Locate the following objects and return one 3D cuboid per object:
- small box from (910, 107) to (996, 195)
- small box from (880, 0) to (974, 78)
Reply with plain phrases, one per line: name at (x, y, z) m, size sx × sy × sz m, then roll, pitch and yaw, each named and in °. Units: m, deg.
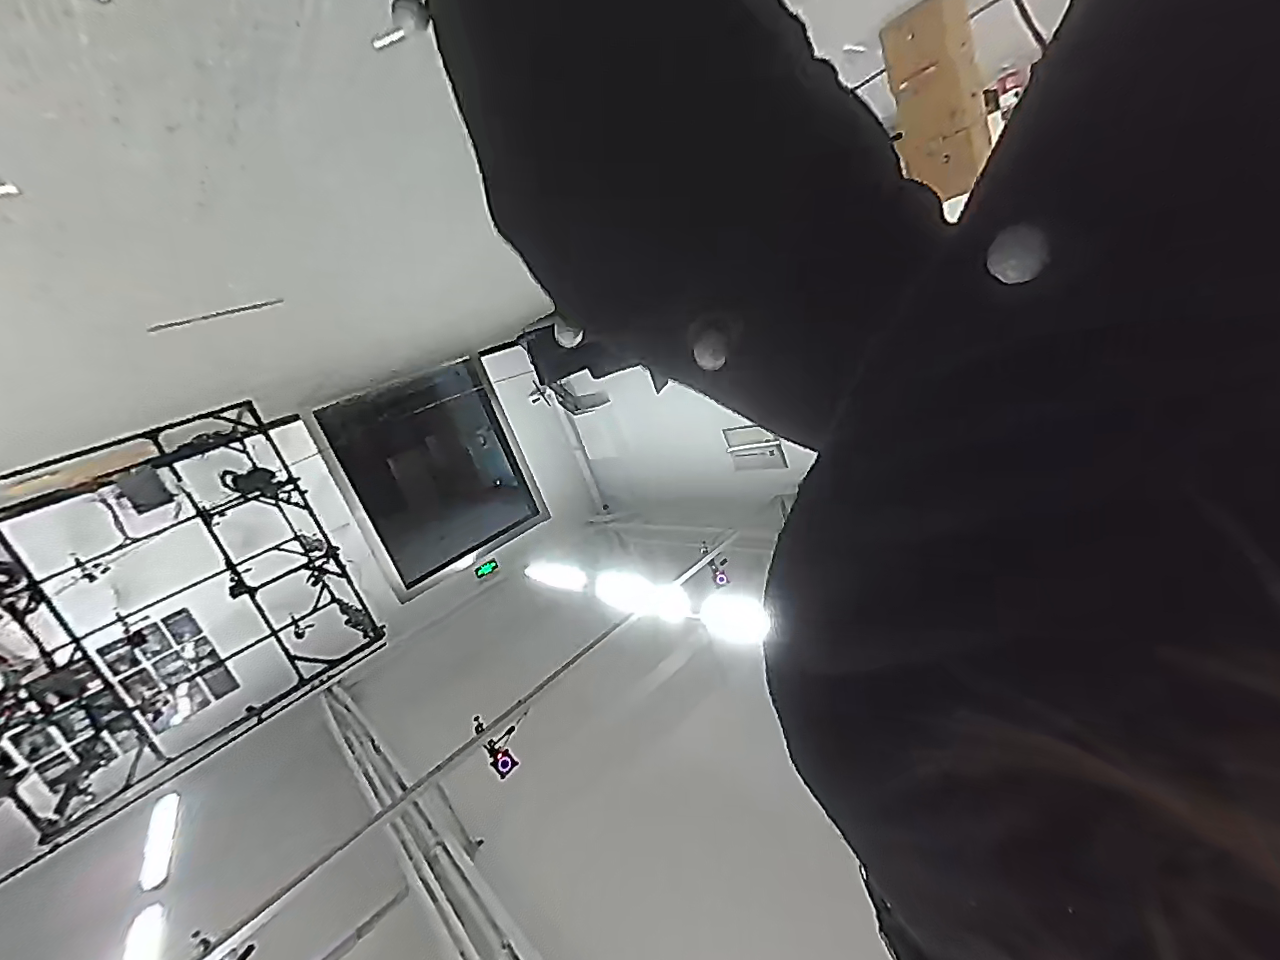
small box at (0.922, -0.970, 1.591) m, size 0.179 × 0.176 × 0.168 m, roll -33°, pitch -160°, yaw -35°
small box at (0.798, -1.260, 1.502) m, size 0.179 × 0.176 × 0.168 m, roll -31°, pitch -162°, yaw -32°
